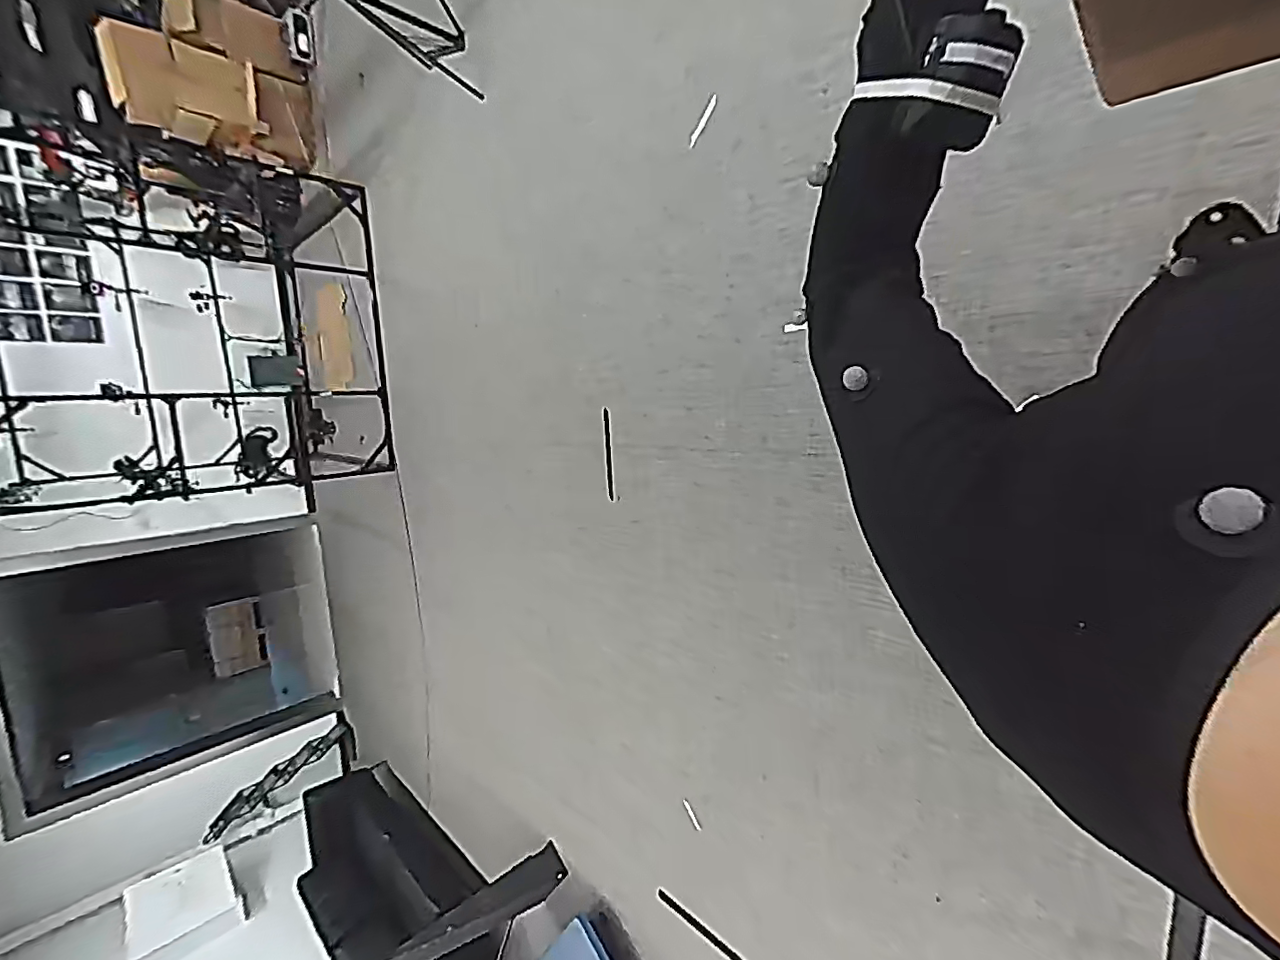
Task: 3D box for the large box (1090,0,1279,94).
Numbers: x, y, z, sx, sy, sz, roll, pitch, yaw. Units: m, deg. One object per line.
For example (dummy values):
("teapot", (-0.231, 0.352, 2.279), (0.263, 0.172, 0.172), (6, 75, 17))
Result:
("large box", (0.466, -0.466, 0.239), (0.408, 0.320, 0.320), (6, 104, 43))
